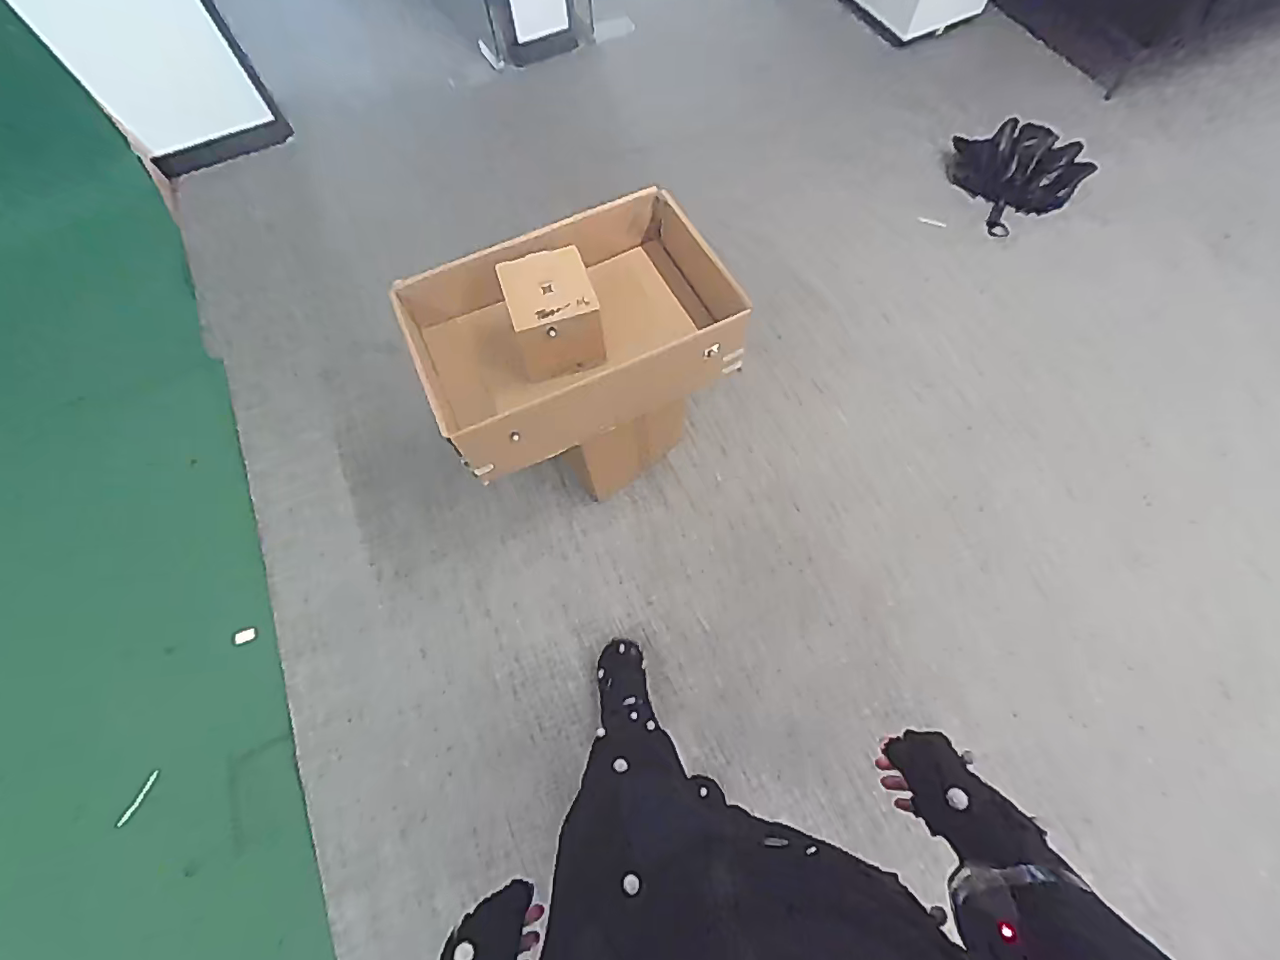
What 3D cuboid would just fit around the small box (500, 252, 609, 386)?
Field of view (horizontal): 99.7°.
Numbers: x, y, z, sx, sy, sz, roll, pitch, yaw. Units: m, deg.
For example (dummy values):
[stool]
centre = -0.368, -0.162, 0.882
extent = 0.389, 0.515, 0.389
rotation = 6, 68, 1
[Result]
[small box]
centre = -0.169, -0.322, 1.100
extent = 0.168, 0.176, 0.179
rotation = -18, 65, -5
